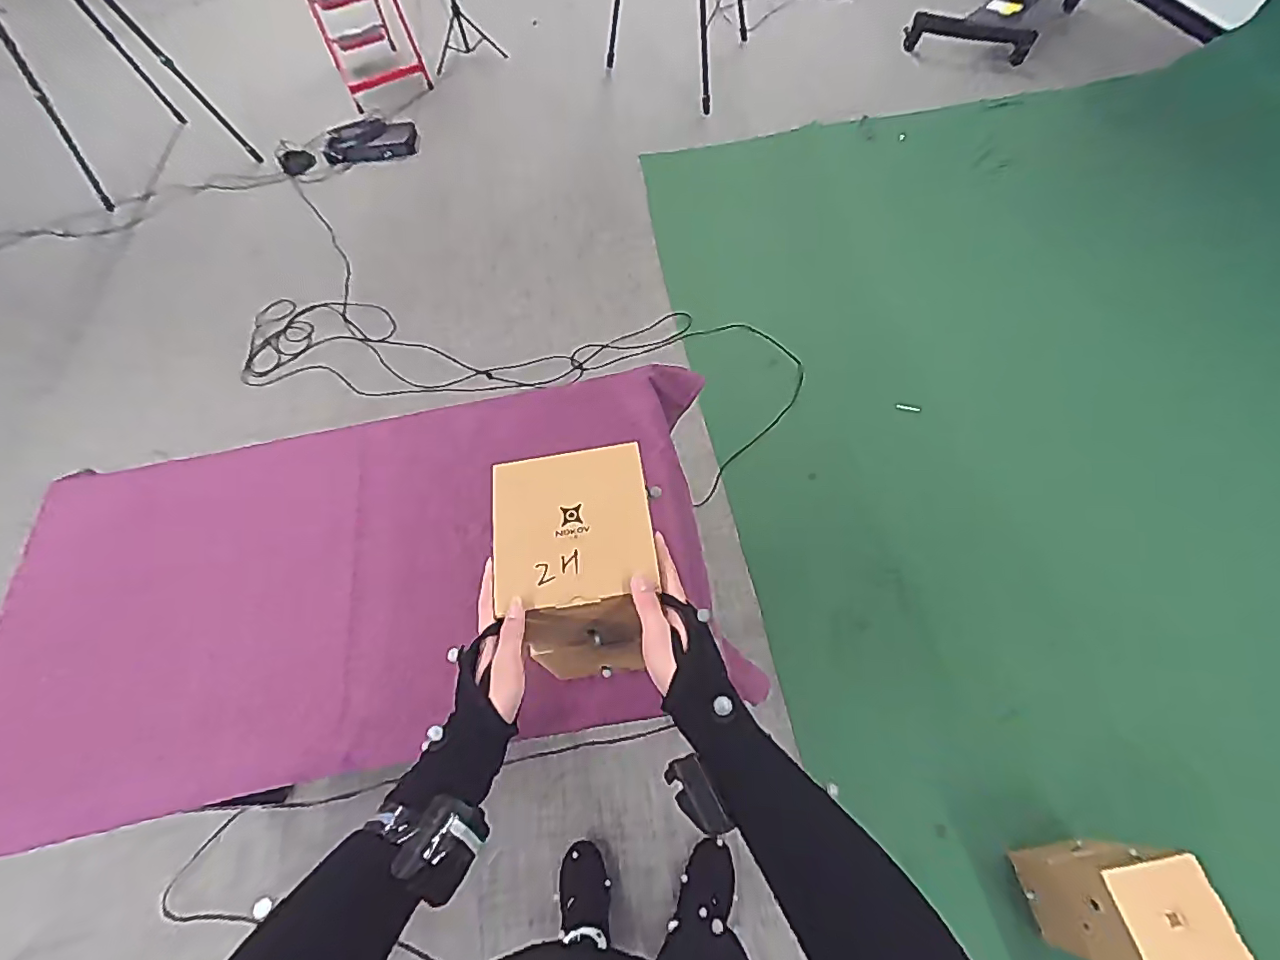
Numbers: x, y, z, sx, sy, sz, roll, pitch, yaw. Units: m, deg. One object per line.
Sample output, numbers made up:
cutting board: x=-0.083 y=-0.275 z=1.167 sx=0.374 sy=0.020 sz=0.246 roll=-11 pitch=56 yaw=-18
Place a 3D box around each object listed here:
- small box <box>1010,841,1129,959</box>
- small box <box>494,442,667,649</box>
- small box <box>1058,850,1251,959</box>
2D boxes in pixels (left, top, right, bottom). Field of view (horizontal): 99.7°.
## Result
small box: x=0.935 y=0.875 z=1.136 sx=0.179 sy=0.176 sz=0.168 roll=-11 pitch=60 yaw=0
small box: x=-0.063 y=0.081 z=0.628 sx=0.168 sy=0.176 sz=0.179 roll=-9 pitch=60 yaw=1
small box: x=0.923 y=0.798 z=0.995 sx=0.179 sy=0.176 sz=0.168 roll=-10 pitch=59 yaw=-2
